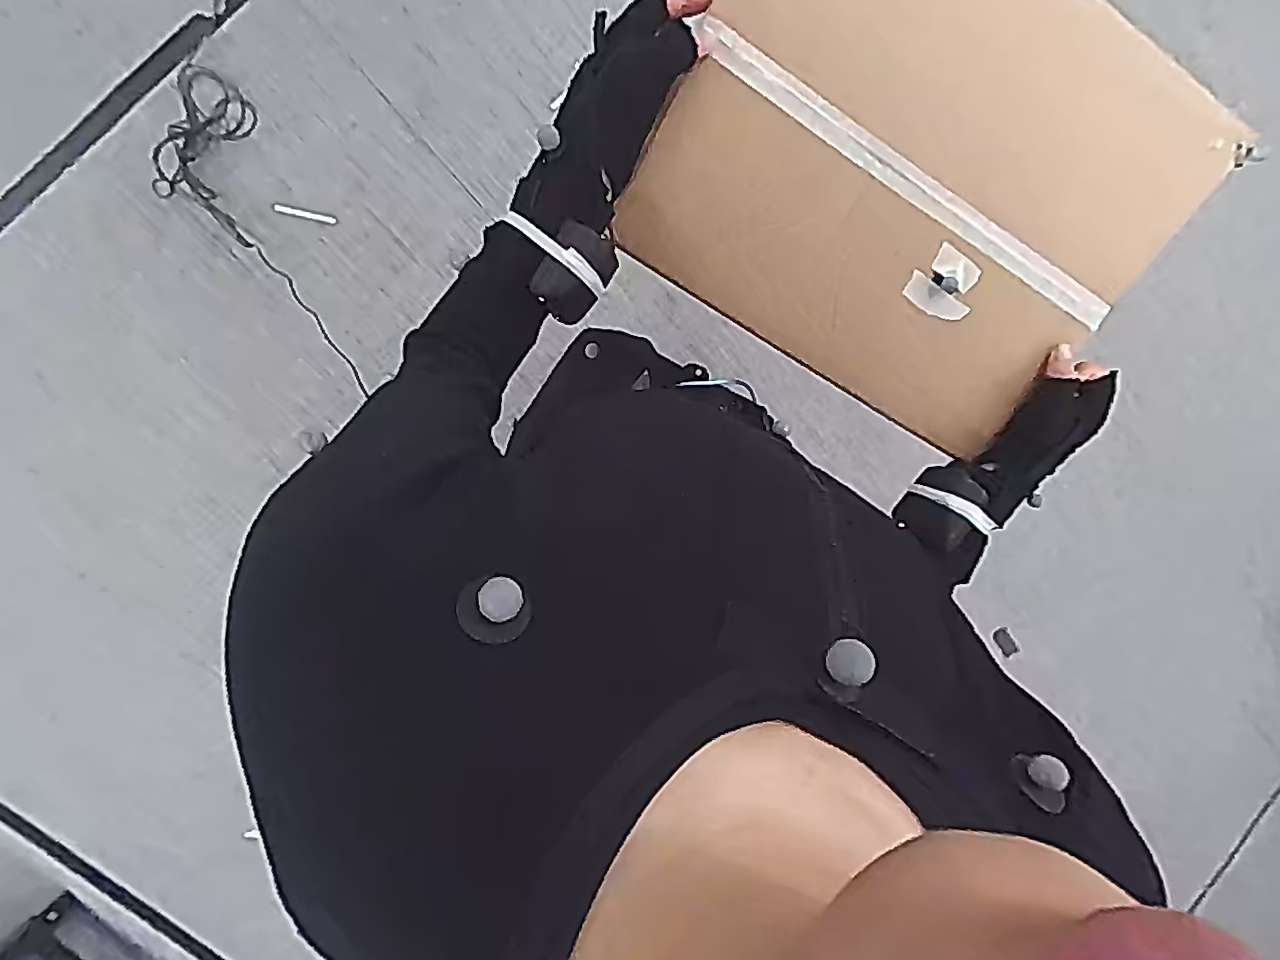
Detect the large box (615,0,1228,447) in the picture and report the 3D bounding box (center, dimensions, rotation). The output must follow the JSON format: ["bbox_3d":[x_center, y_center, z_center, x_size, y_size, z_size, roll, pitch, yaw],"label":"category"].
[{"bbox_3d":[0.220,-0.298,0.579,0.408,0.320,0.320,28,111,-11],"label":"large box"}]
